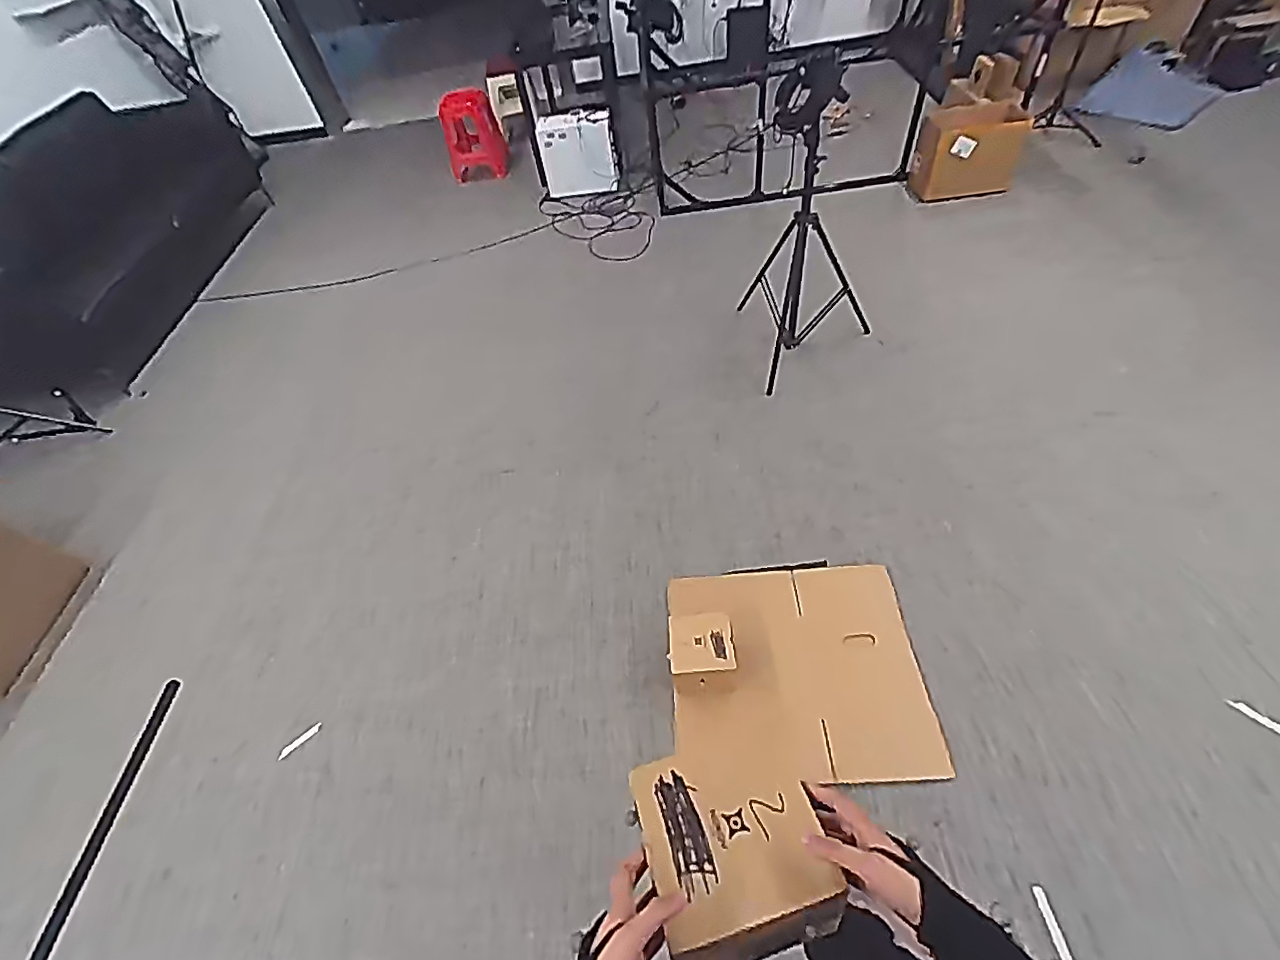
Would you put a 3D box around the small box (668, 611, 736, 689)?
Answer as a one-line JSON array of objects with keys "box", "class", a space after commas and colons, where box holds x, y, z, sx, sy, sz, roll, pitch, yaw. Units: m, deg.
[{"box": [0.176, 0.487, 1.538, 0.179, 0.176, 0.168, -6, 52, 6], "class": "small box"}]
